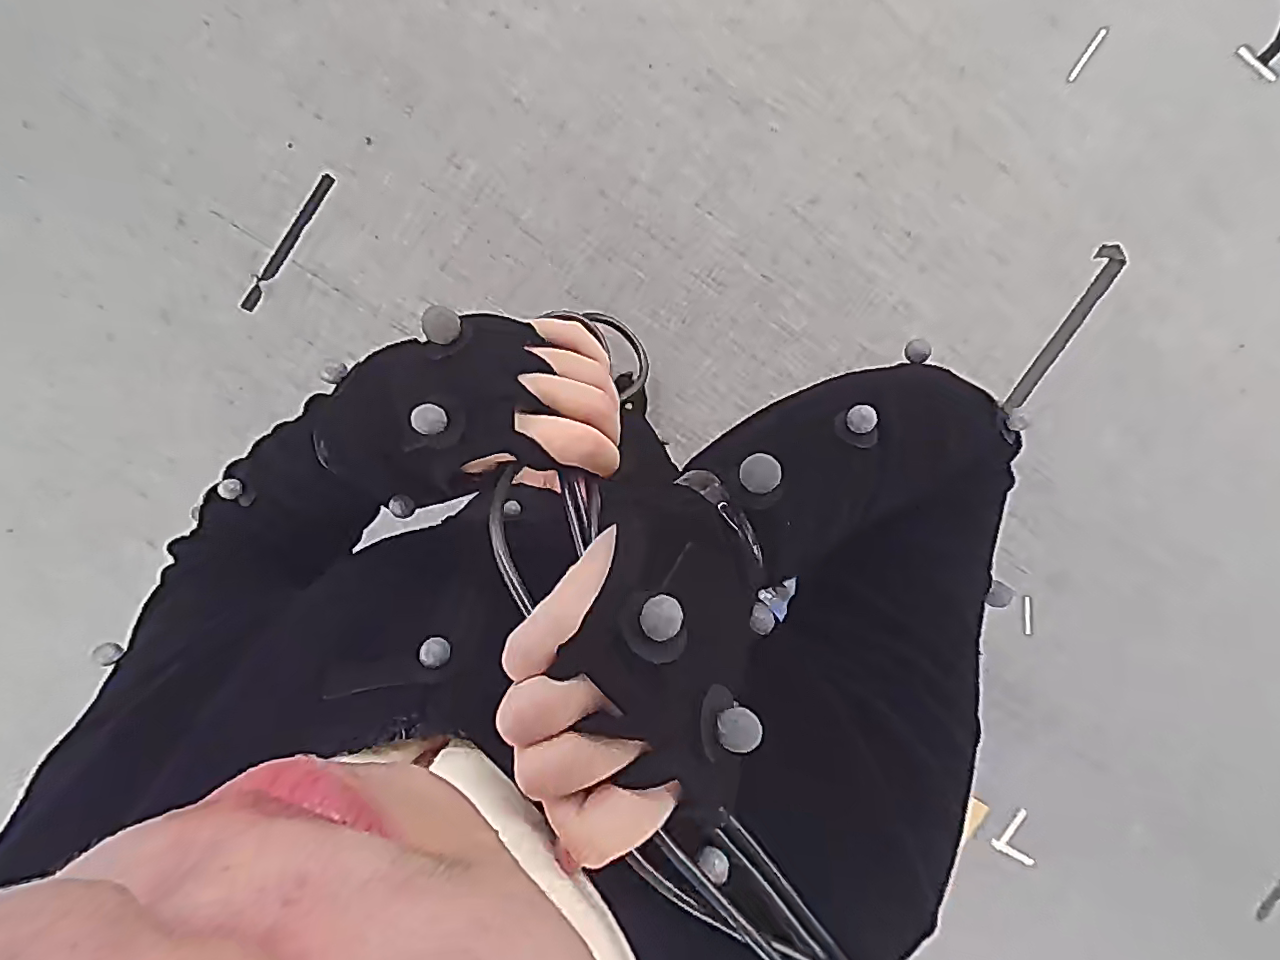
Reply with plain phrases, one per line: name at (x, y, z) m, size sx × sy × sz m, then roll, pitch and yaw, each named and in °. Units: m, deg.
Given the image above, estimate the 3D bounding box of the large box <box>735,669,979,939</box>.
large box at (0.492, 0.750, 1.303) m, size 0.320 × 0.320 × 0.408 m, roll 32°, pitch 95°, yaw -7°
